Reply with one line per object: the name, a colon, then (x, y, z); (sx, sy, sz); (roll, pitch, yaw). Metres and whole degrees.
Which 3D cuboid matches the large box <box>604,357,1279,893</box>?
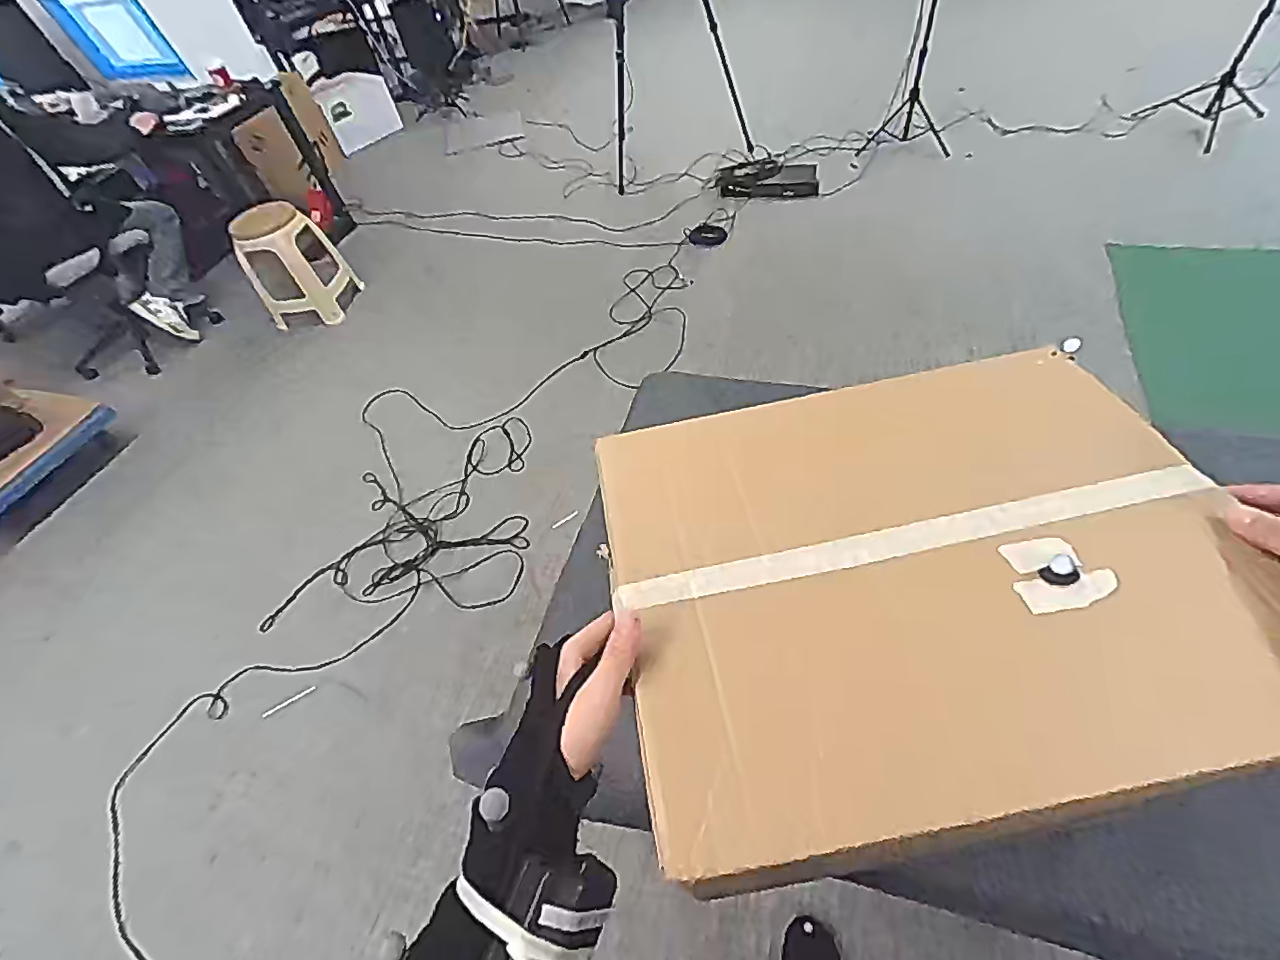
large box: (0.202, 0.137, 0.492); (0.408, 0.320, 0.320); (-11, 51, -1)
